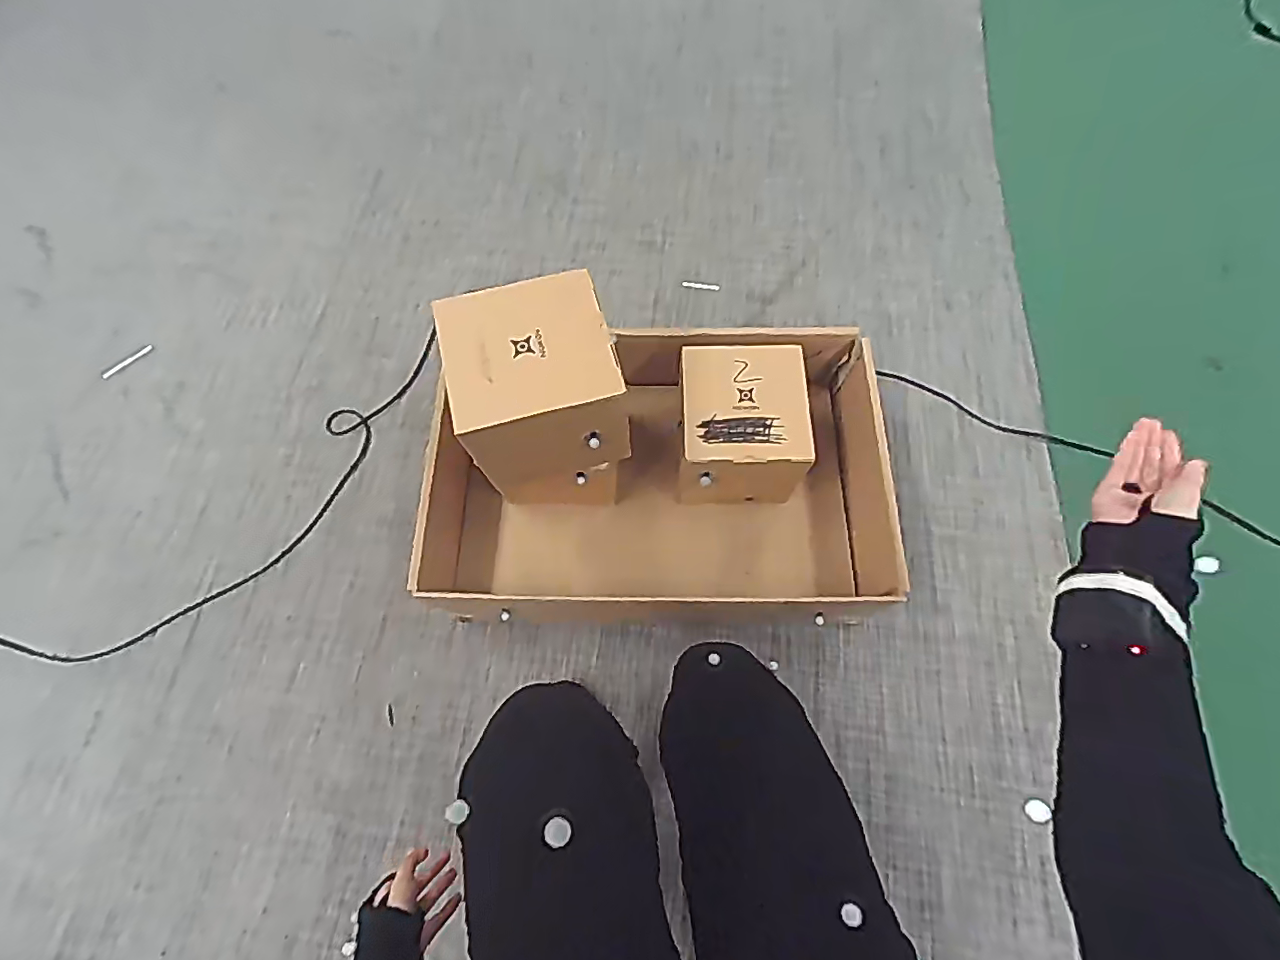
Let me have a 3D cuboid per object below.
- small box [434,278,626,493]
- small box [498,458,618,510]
[{"bbox_3d":[-0.118,-0.100,0.635,0.179,0.176,0.168,-14,70,-4],"label":"small box"},{"bbox_3d":[-0.124,-0.058,0.793,0.179,0.176,0.168,1,70,0],"label":"small box"}]
